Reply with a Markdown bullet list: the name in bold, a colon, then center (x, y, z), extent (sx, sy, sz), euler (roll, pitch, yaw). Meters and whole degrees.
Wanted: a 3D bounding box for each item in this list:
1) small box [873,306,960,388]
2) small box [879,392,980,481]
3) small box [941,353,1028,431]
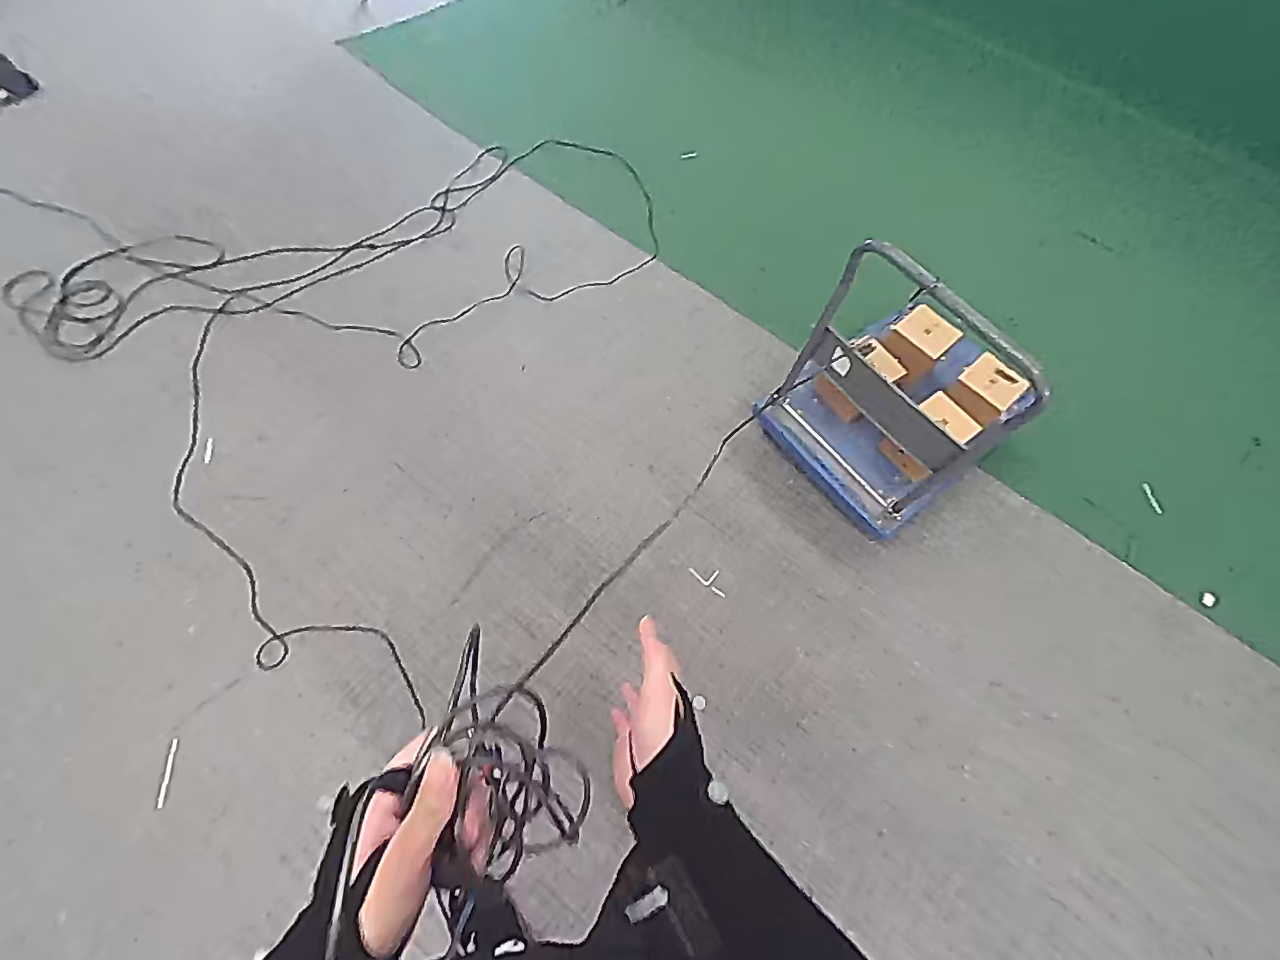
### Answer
- **small box**: center (0.914, -0.441, 1.811), extent (0.179, 0.176, 0.168), euler (-37, 73, -22)
- **small box**: center (0.871, -0.128, 1.644), extent (0.179, 0.176, 0.168), euler (-32, 71, -20)
- **small box**: center (1.082, -0.268, 1.740), extent (0.179, 0.176, 0.168), euler (-37, 71, -21)
